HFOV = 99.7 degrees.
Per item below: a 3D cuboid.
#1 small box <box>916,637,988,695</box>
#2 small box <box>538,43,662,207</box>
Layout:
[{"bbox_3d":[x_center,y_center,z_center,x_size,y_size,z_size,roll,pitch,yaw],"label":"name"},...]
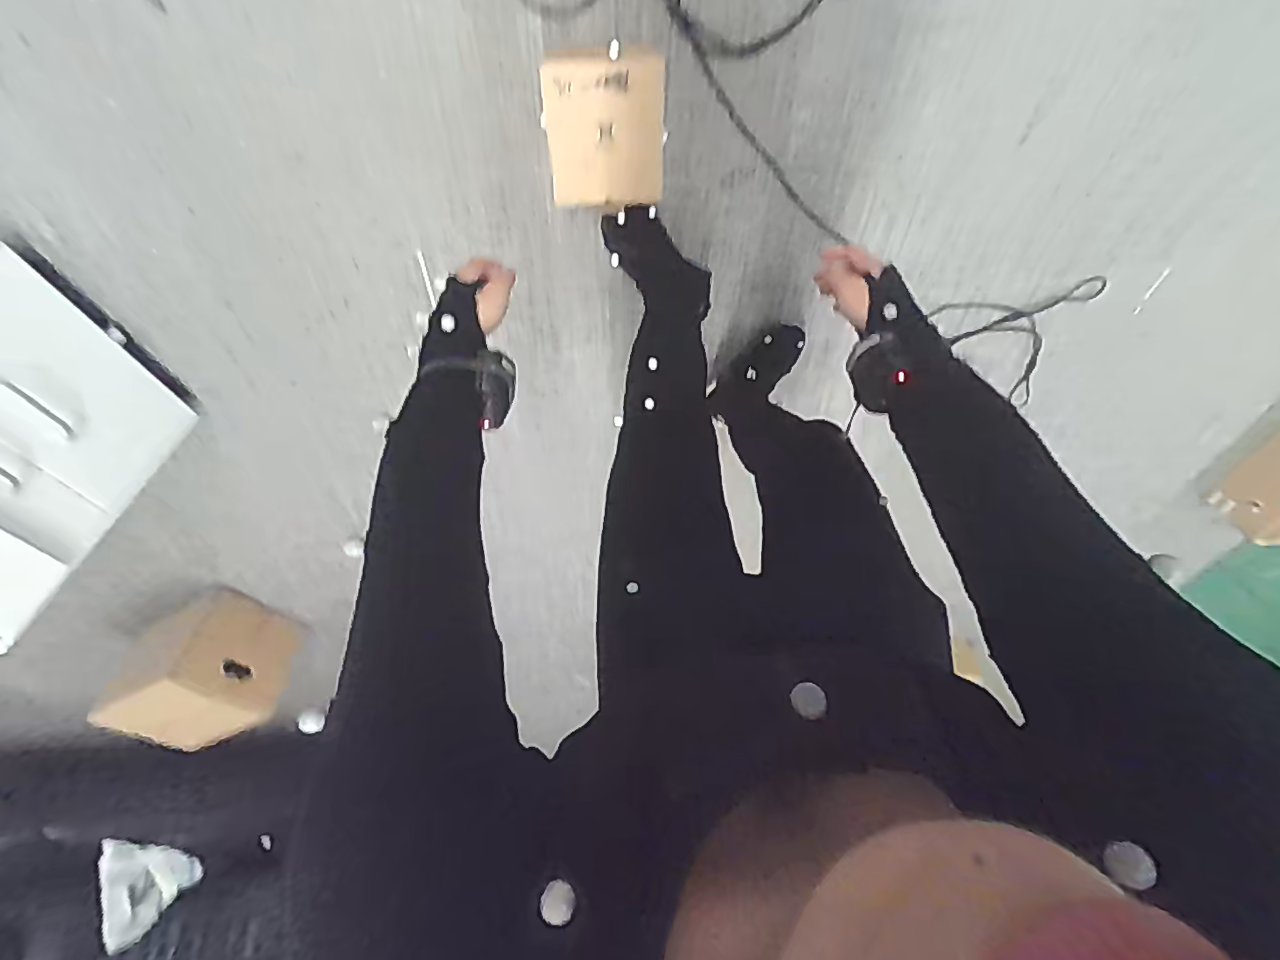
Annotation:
[{"bbox_3d":[1.261,0.760,2.203,0.168,0.176,0.179,2,134,-8],"label":"small box"},{"bbox_3d":[-0.055,-0.538,0.819,0.168,0.176,0.179,-3,135,-2],"label":"small box"}]
